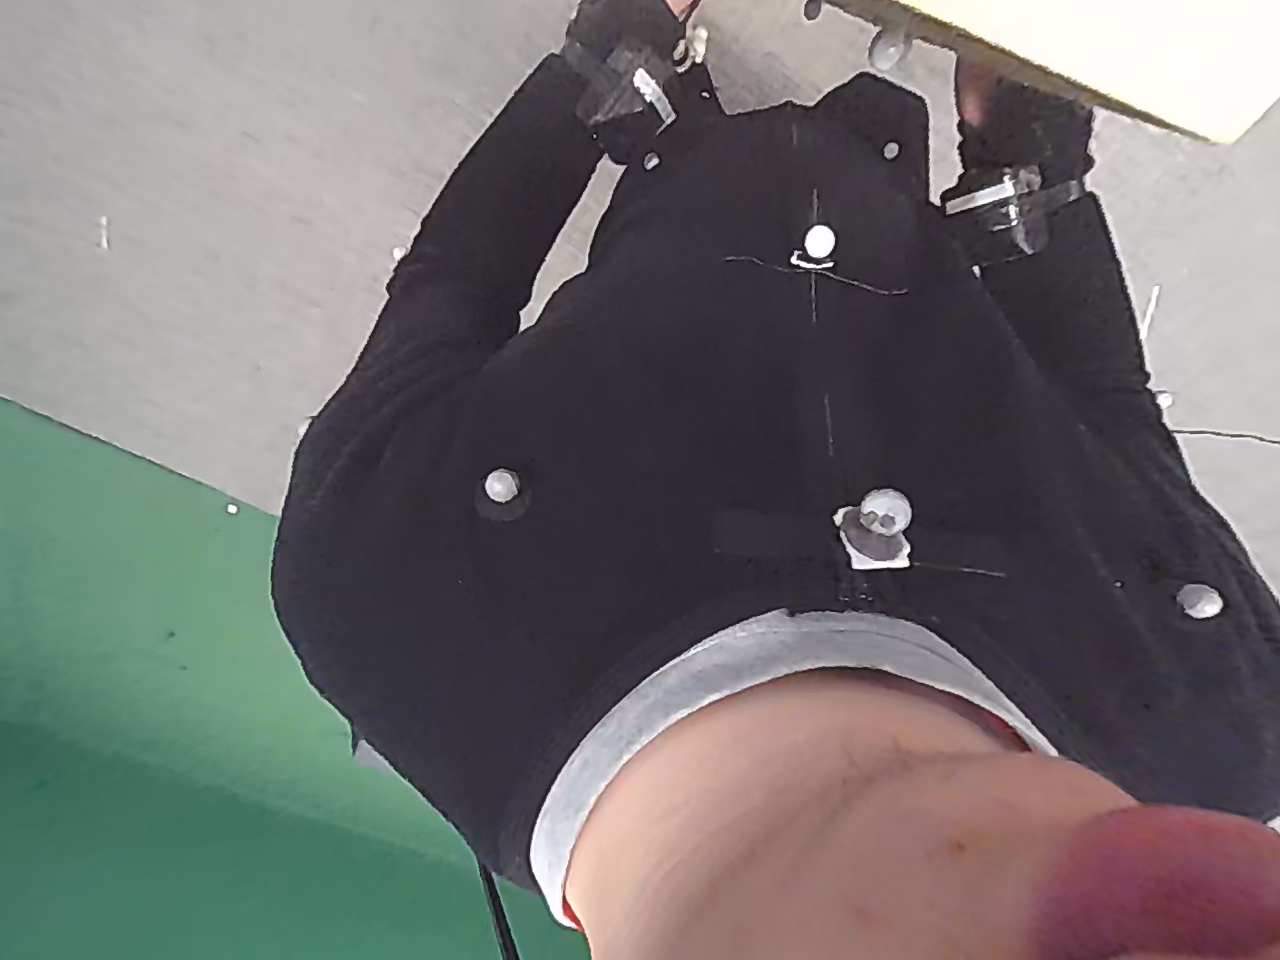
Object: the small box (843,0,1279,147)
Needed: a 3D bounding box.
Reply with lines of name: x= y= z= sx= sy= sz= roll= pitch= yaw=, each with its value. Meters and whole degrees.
small box: x=0.144 y=-0.241 z=0.161 sx=0.168 sy=0.176 sz=0.179 roll=16 pitch=134 yaw=-8
